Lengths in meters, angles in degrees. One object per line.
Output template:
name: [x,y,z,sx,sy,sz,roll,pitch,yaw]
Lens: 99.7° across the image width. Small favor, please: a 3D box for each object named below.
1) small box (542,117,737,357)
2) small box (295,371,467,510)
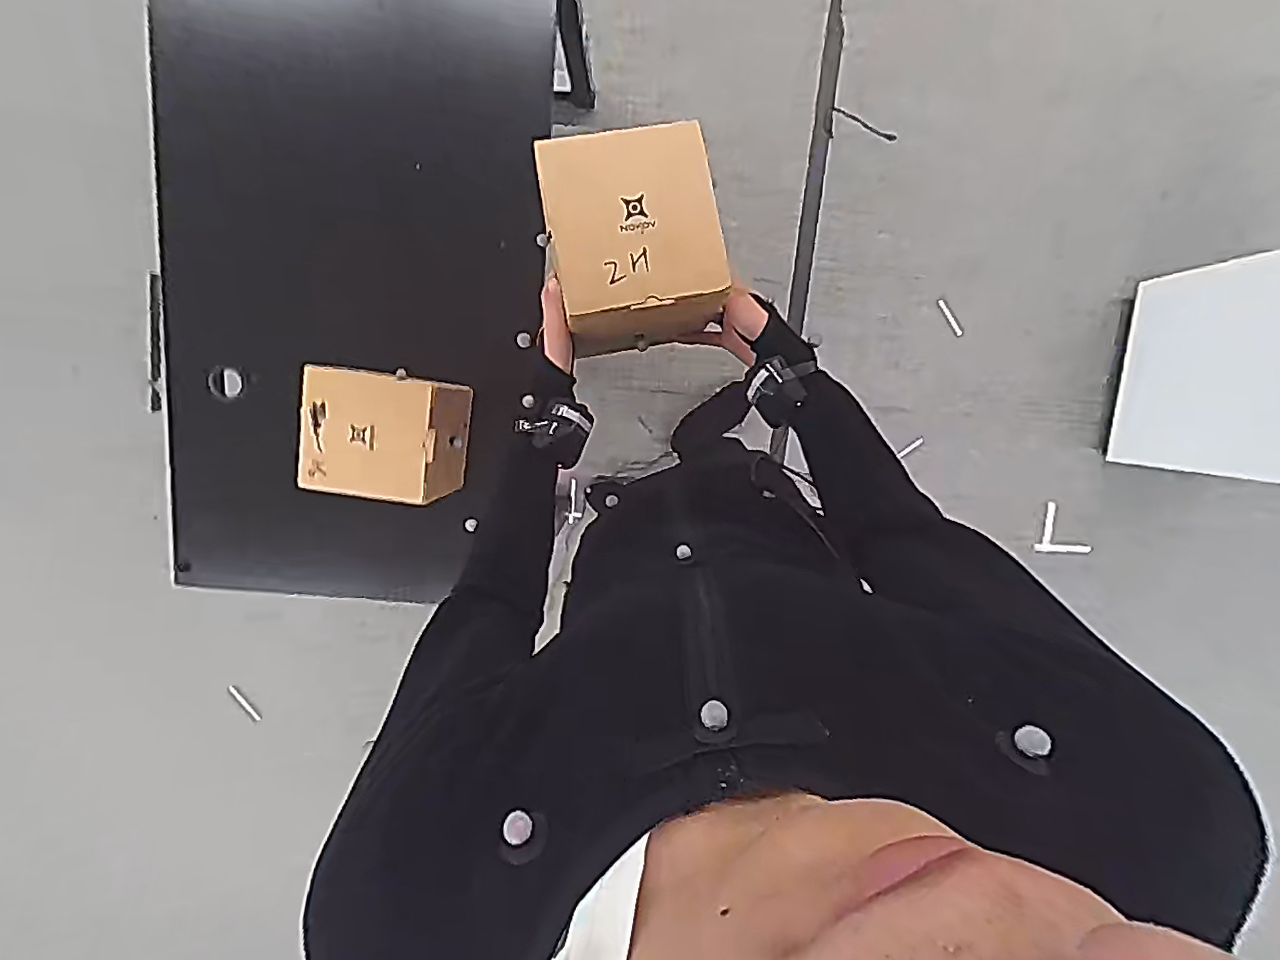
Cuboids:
small box: [-0.008,-0.252,0.595,0.168,0.176,0.179,-11,89,-6]
small box: [-0.367,-0.063,0.797,0.179,0.176,0.168,8,98,-2]
